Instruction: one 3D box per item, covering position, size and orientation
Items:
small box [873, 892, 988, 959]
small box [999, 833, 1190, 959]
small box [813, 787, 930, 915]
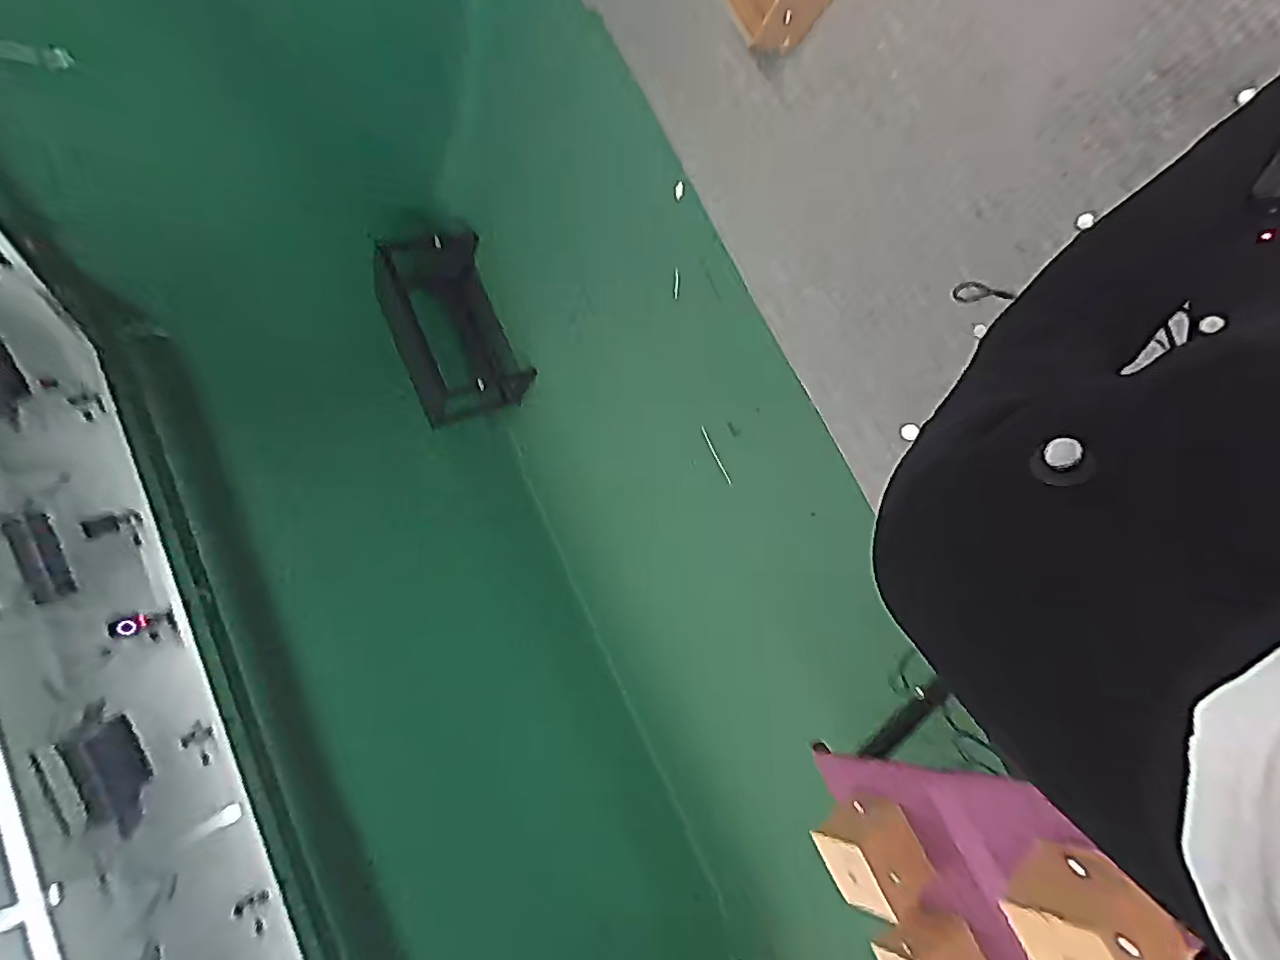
[{"bbox_3d":[0.704,1.142,1.285,0.179,0.176,0.168,63,148,9],"label":"small box"},{"bbox_3d":[0.778,0.758,0.928,0.179,0.176,0.168,63,150,9],"label":"small box"},{"bbox_3d":[0.573,0.902,1.335,0.179,0.176,0.168,64,148,7],"label":"small box"}]
